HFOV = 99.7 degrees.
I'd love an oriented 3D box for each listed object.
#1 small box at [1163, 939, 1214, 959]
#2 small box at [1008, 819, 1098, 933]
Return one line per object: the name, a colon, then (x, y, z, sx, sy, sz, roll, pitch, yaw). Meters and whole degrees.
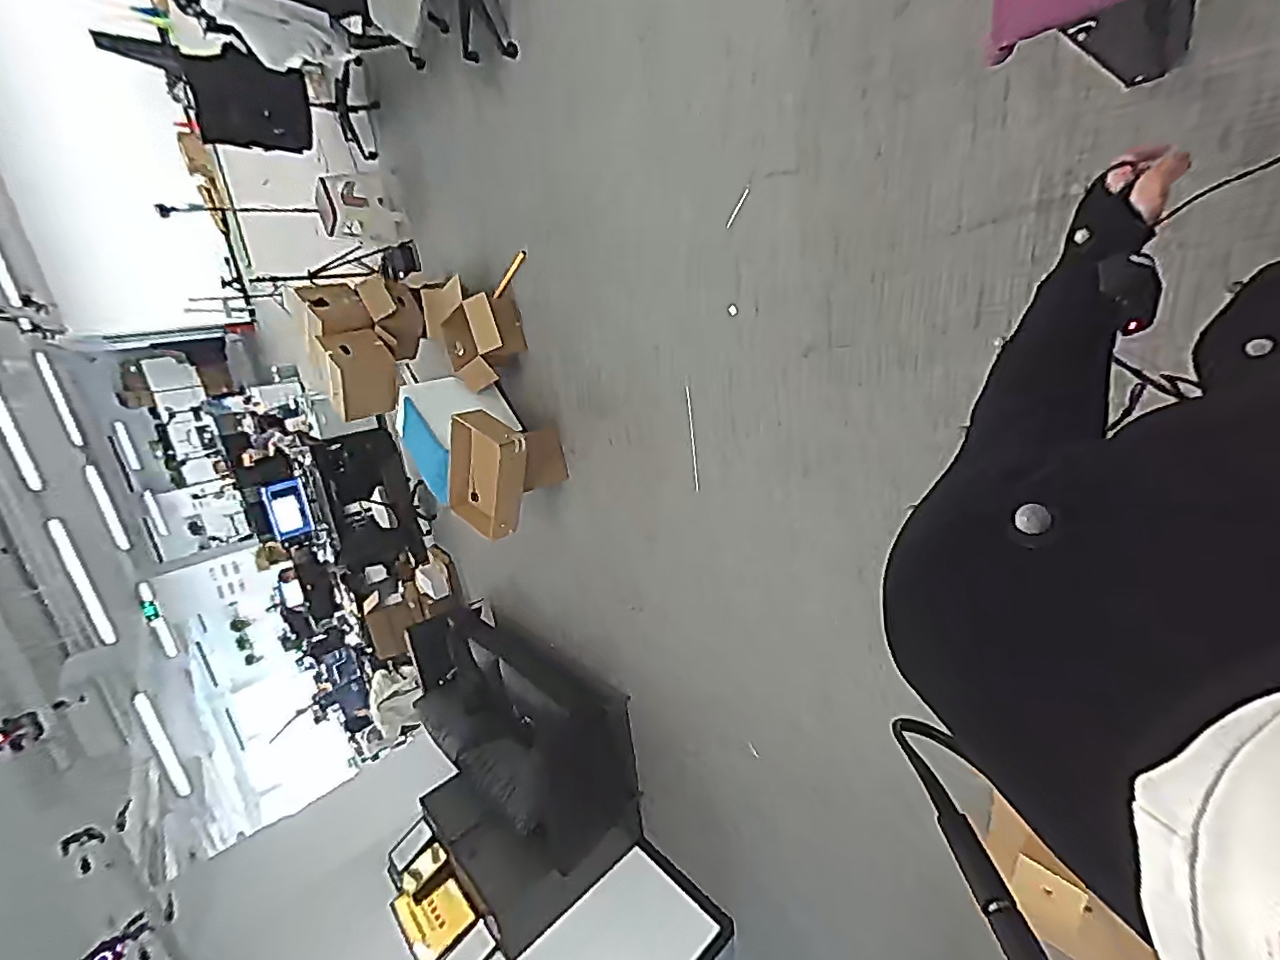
small box: (1.467, 1.371, 1.402, 0.168, 0.176, 0.179, 4, 110, 51)
small box: (1.224, 1.160, 1.600, 0.168, 0.176, 0.179, 18, 121, 45)
